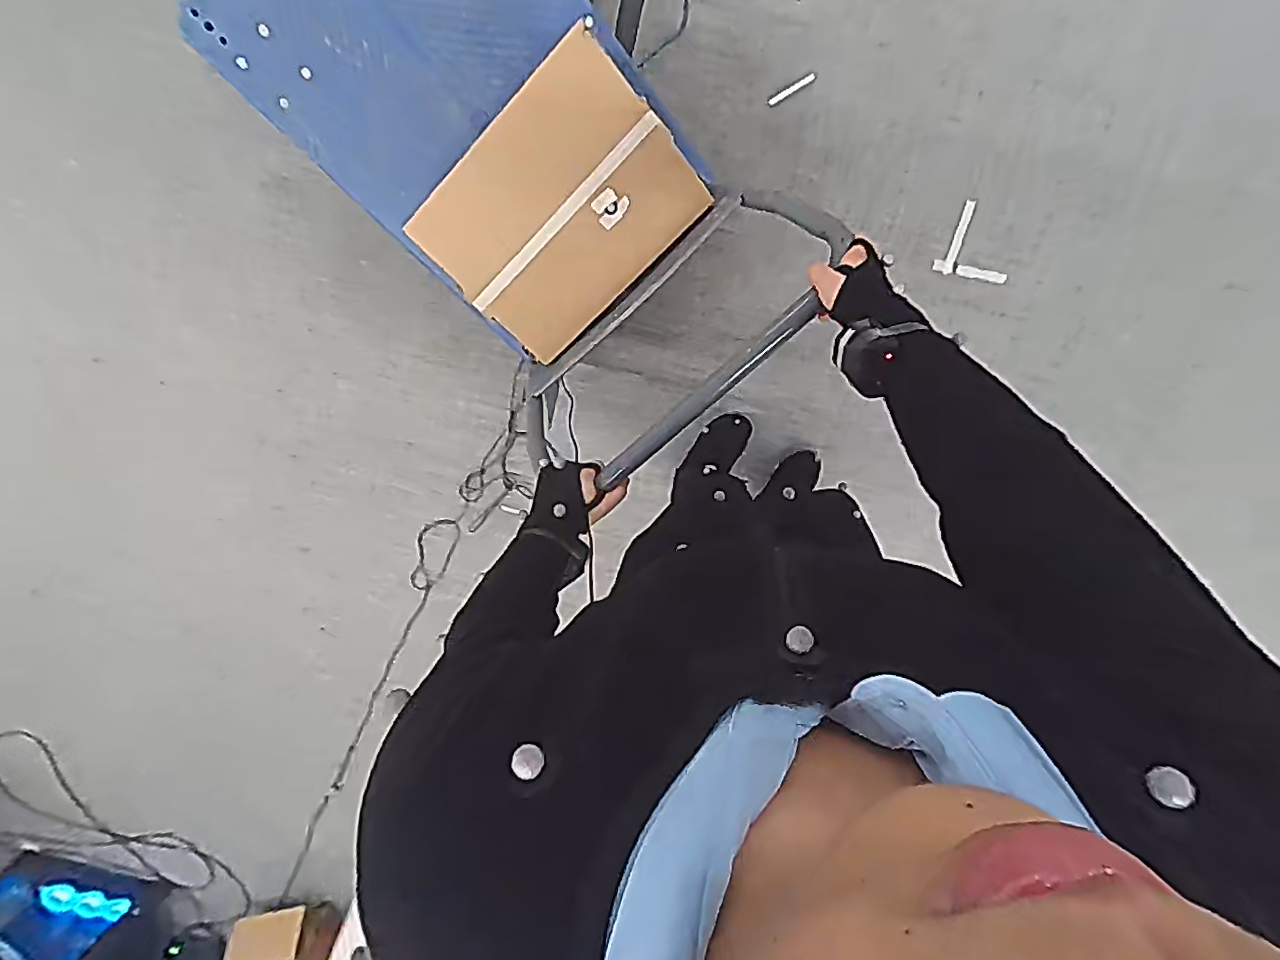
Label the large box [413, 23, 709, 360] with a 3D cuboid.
[{"bbox_3d":[-0.145,-0.504,1.014,0.408,0.320,0.320,-42,116,13],"label":"large box"}]
